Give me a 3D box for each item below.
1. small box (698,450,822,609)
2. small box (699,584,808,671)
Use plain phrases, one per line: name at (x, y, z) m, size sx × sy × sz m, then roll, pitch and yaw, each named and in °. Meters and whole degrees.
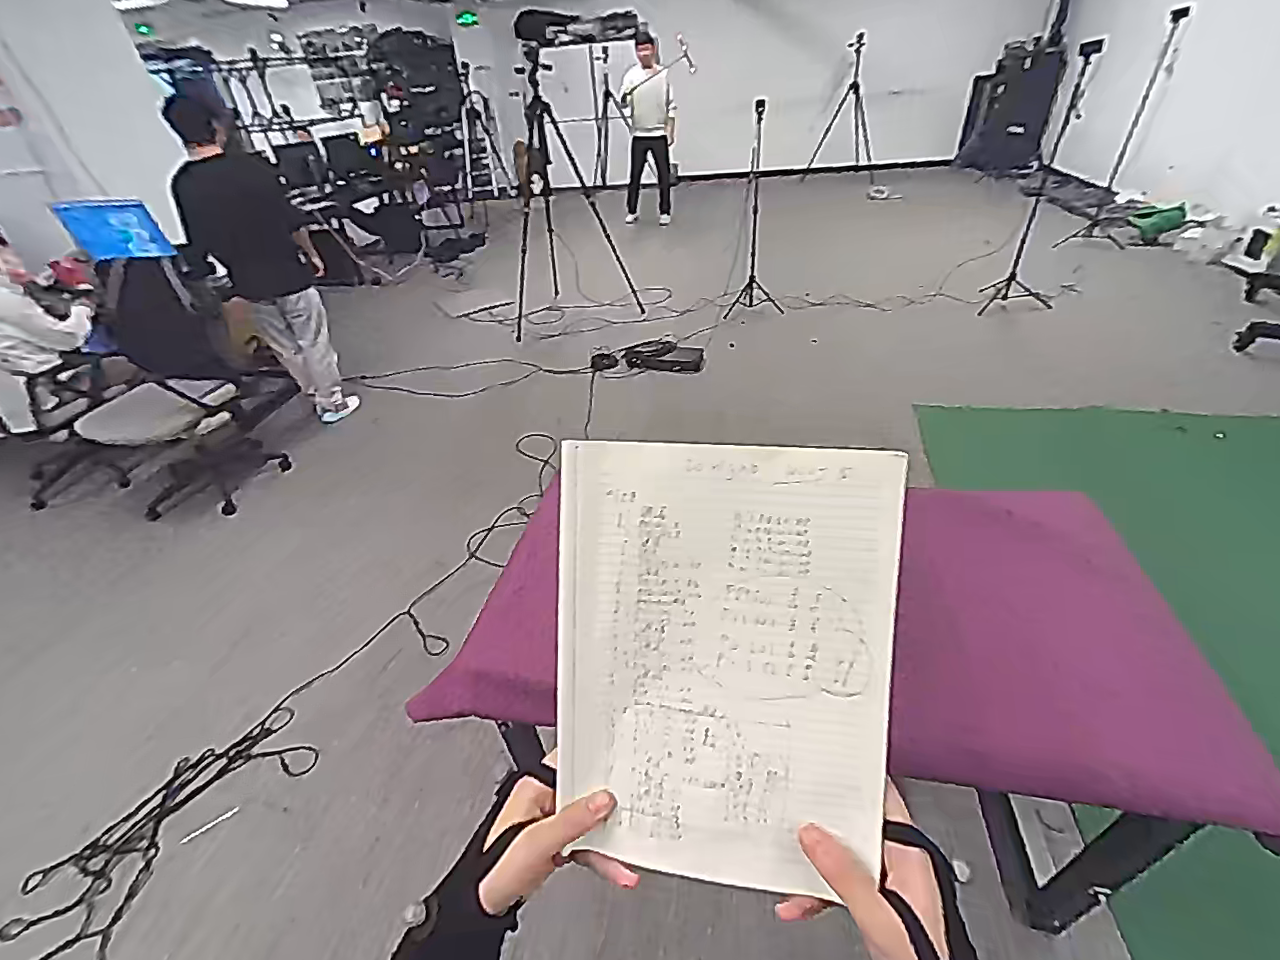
small box at (0.183, 0.074, 0.826) m, size 0.168 × 0.176 × 0.179 m, roll 4°, pitch 37°, yaw 13°
small box at (0.196, 0.202, 0.930) m, size 0.168 × 0.176 × 0.179 m, roll 4°, pitch 39°, yaw 12°
